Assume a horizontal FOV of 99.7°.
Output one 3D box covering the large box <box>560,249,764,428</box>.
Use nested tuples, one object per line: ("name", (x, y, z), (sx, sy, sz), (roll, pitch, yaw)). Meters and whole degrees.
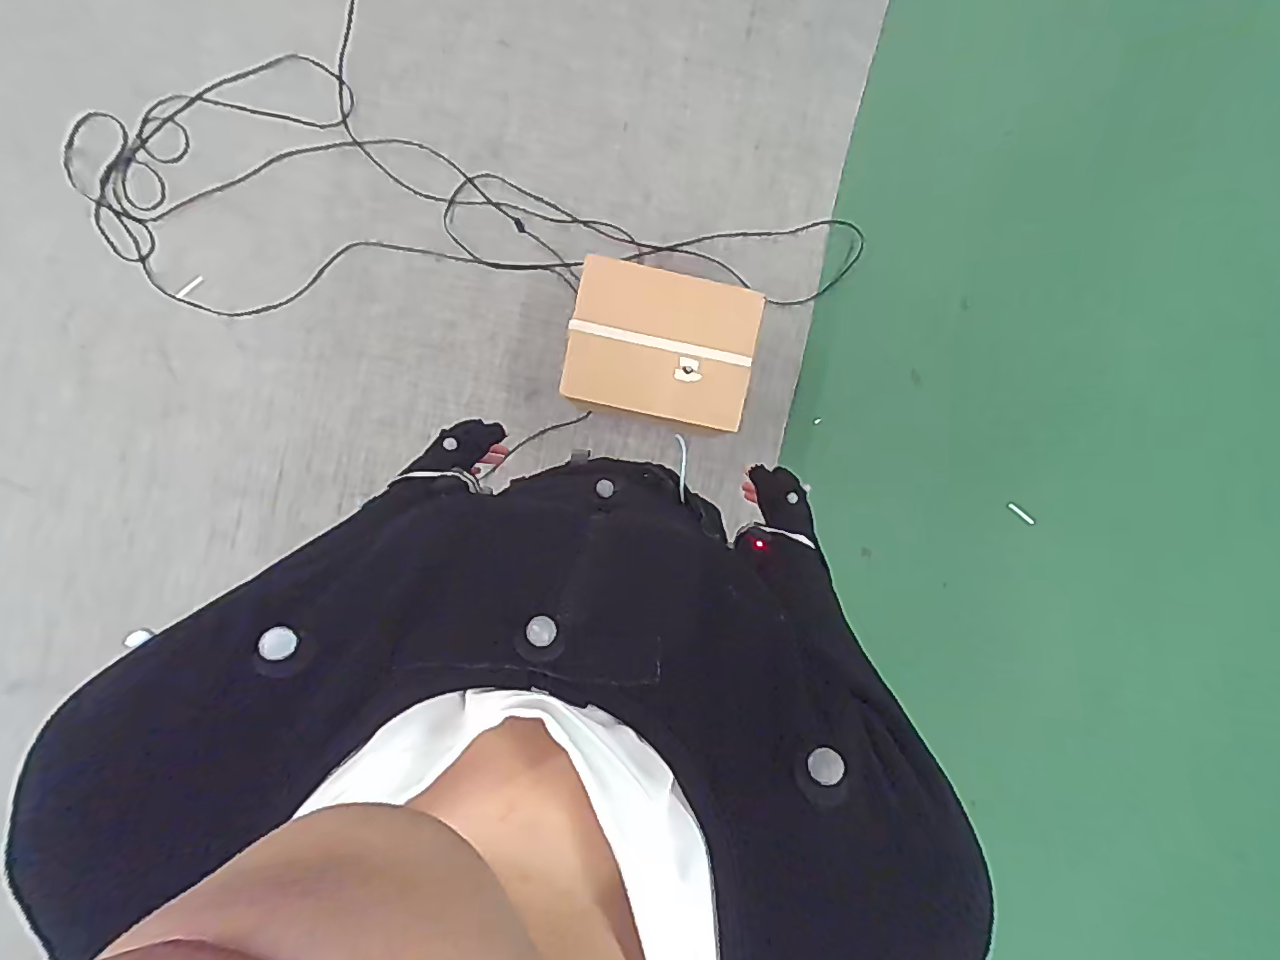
("large box", (0.040, -0.319, 1.322), (0.408, 0.320, 0.320), (12, 93, -3))
